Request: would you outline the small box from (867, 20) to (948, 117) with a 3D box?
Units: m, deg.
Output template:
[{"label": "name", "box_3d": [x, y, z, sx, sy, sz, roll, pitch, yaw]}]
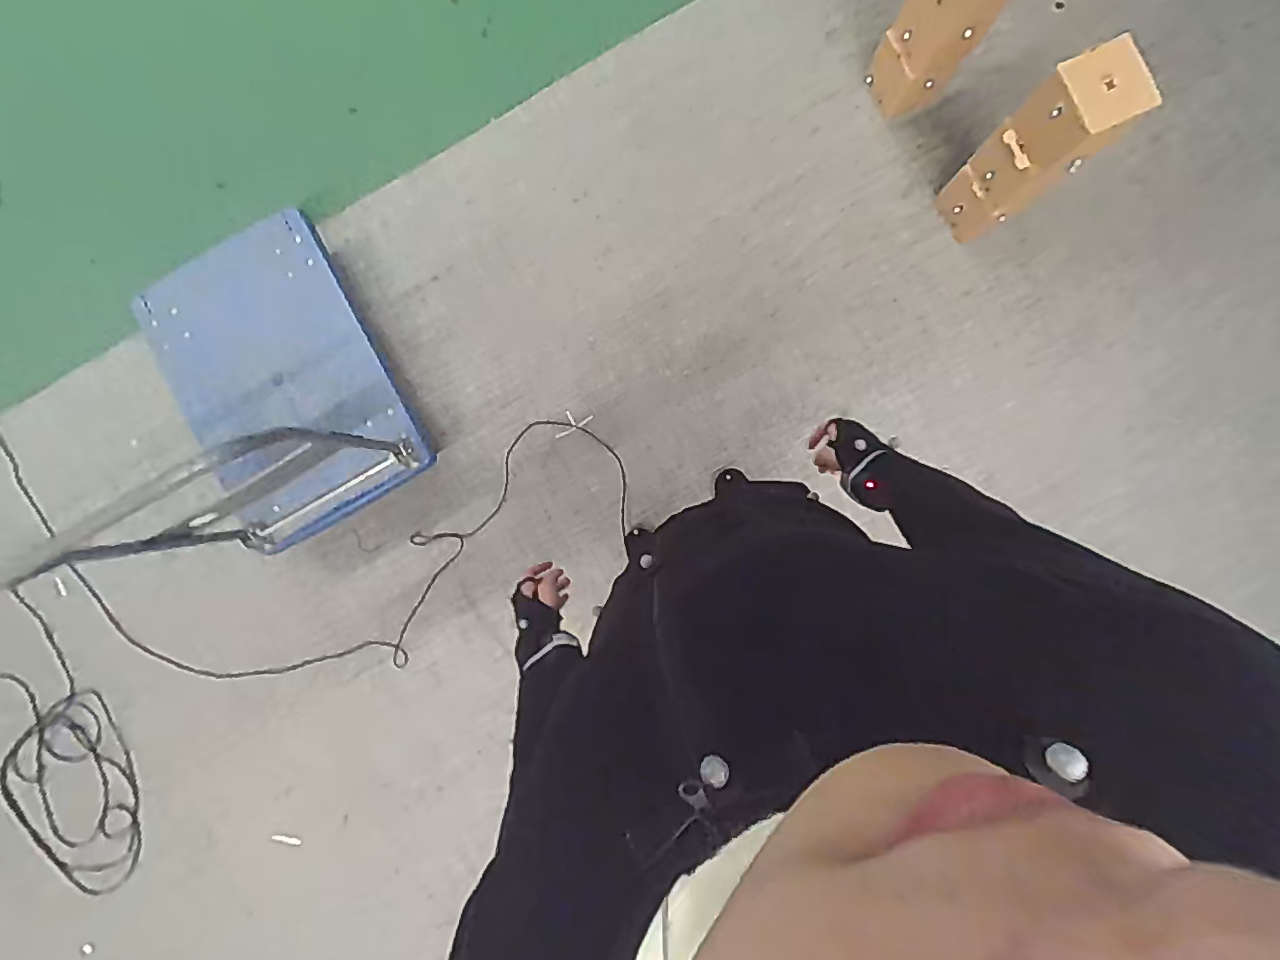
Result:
[{"label": "small box", "box_3d": [0.794, -1.219, 1.587, 0.179, 0.176, 0.168, -24, 87, 0]}]

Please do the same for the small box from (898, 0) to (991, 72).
[{"label": "small box", "box_3d": [0.804, -1.236, 1.433, 0.168, 0.176, 0.179, 8, 87, 4]}]

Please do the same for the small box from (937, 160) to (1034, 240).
[{"label": "small box", "box_3d": [0.996, -0.832, 1.563, 0.179, 0.176, 0.168, -27, 87, 2]}]

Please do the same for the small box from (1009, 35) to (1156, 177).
[{"label": "small box", "box_3d": [0.996, -0.844, 1.235, 0.168, 0.176, 0.179, -23, 87, 2]}]

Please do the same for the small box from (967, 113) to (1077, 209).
[{"label": "small box", "box_3d": [0.999, -0.844, 1.399, 0.179, 0.176, 0.168, -22, 86, 1]}]
